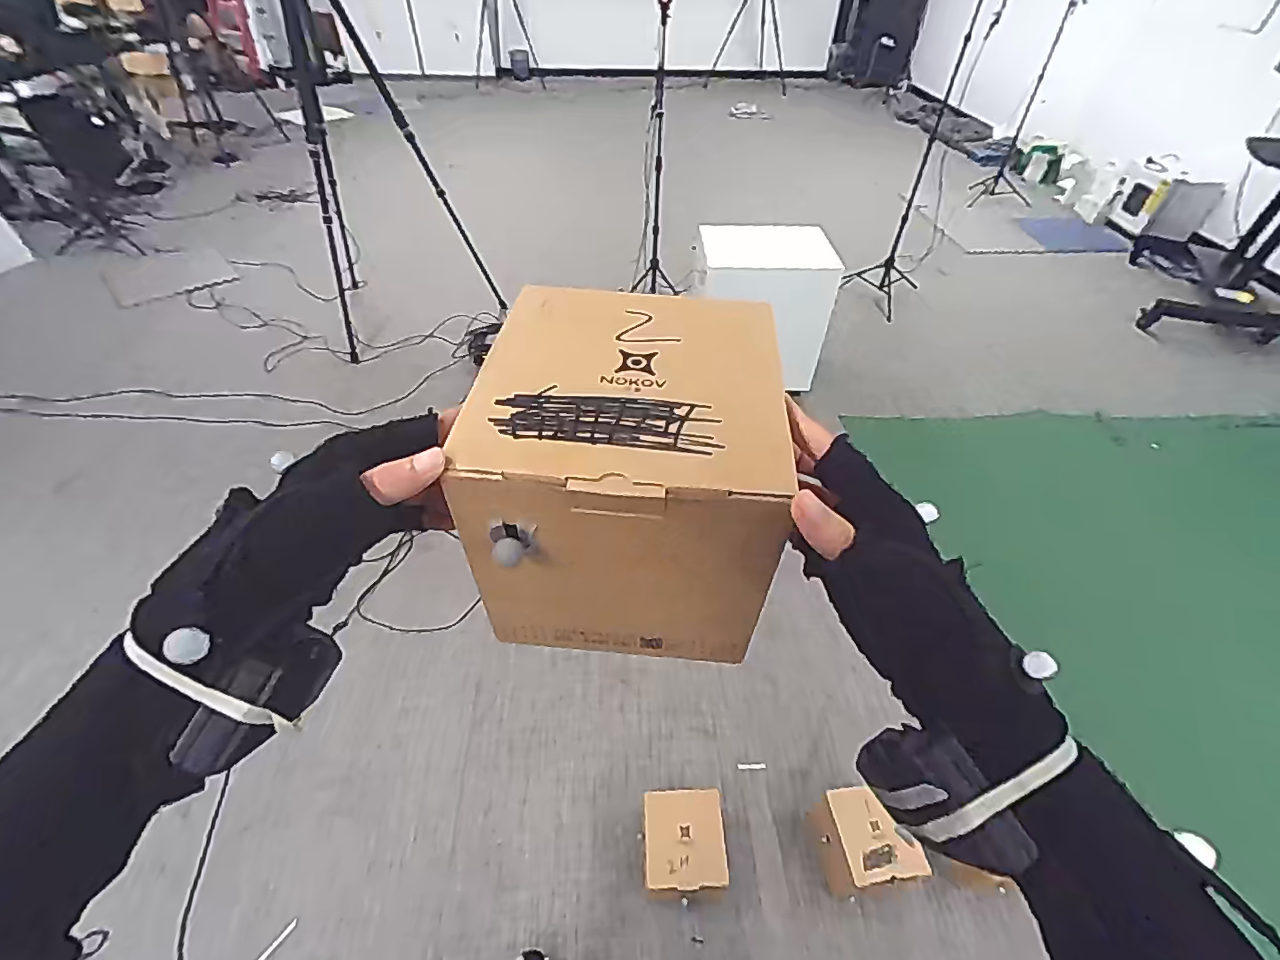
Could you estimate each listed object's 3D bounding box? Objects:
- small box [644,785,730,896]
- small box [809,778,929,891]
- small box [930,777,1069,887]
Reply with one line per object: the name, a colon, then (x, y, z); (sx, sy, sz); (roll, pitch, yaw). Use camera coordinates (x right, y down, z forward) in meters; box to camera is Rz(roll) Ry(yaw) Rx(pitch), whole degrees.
small box: (0.093, 0.787, 1.181); (0.168, 0.176, 0.179); (-1, 47, -2)
small box: (0.495, 0.788, 1.198); (0.168, 0.176, 0.179); (-4, 45, -6)
small box: (0.788, 0.788, 1.210); (0.168, 0.176, 0.179); (-2, 46, -3)
